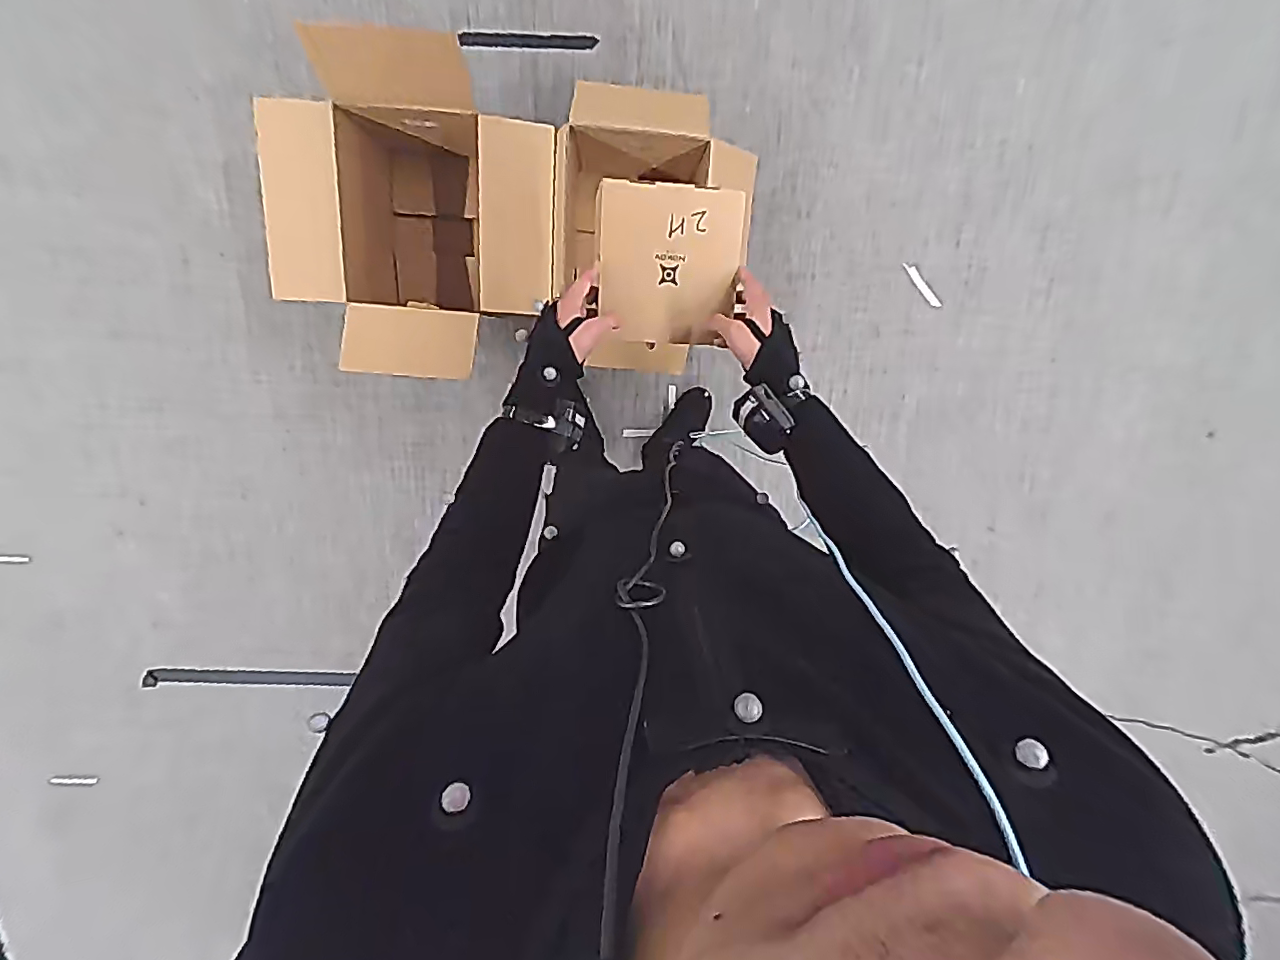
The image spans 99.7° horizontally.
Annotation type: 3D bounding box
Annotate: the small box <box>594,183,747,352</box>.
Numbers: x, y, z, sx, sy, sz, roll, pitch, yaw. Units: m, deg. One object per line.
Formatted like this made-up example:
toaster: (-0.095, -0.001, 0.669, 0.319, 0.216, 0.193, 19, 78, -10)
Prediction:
small box: (0.027, -0.269, 0.705, 0.168, 0.176, 0.179, 1, 109, -7)
